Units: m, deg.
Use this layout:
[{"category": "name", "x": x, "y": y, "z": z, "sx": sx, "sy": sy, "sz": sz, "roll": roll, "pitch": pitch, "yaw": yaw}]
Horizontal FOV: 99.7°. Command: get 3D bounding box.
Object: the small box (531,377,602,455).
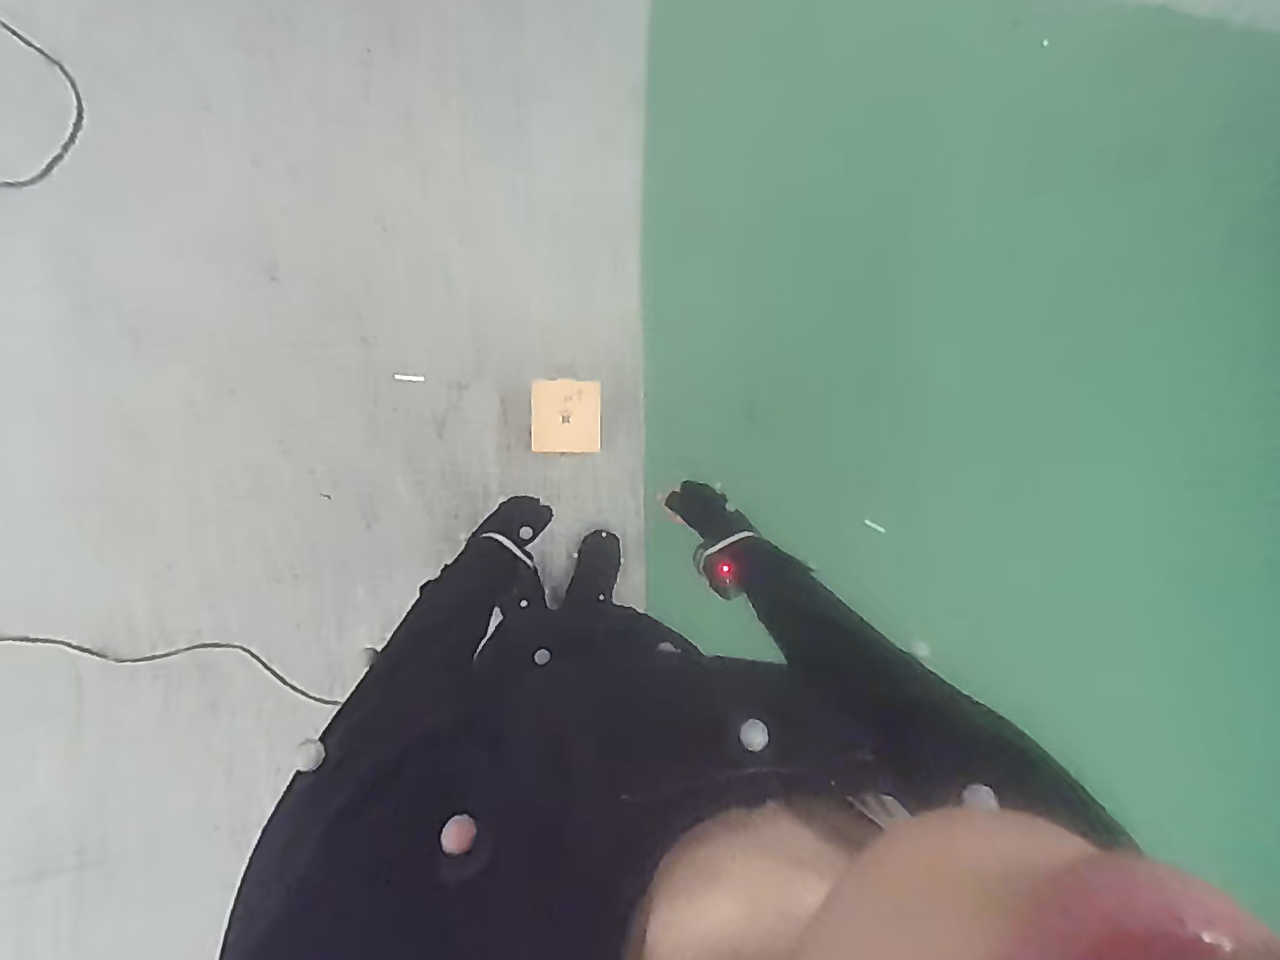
[{"category": "small box", "x": -0.186, "y": -0.153, "z": 1.357, "sx": 0.168, "sy": 0.176, "sz": 0.179, "roll": 1, "pitch": 89, "yaw": -11}]
